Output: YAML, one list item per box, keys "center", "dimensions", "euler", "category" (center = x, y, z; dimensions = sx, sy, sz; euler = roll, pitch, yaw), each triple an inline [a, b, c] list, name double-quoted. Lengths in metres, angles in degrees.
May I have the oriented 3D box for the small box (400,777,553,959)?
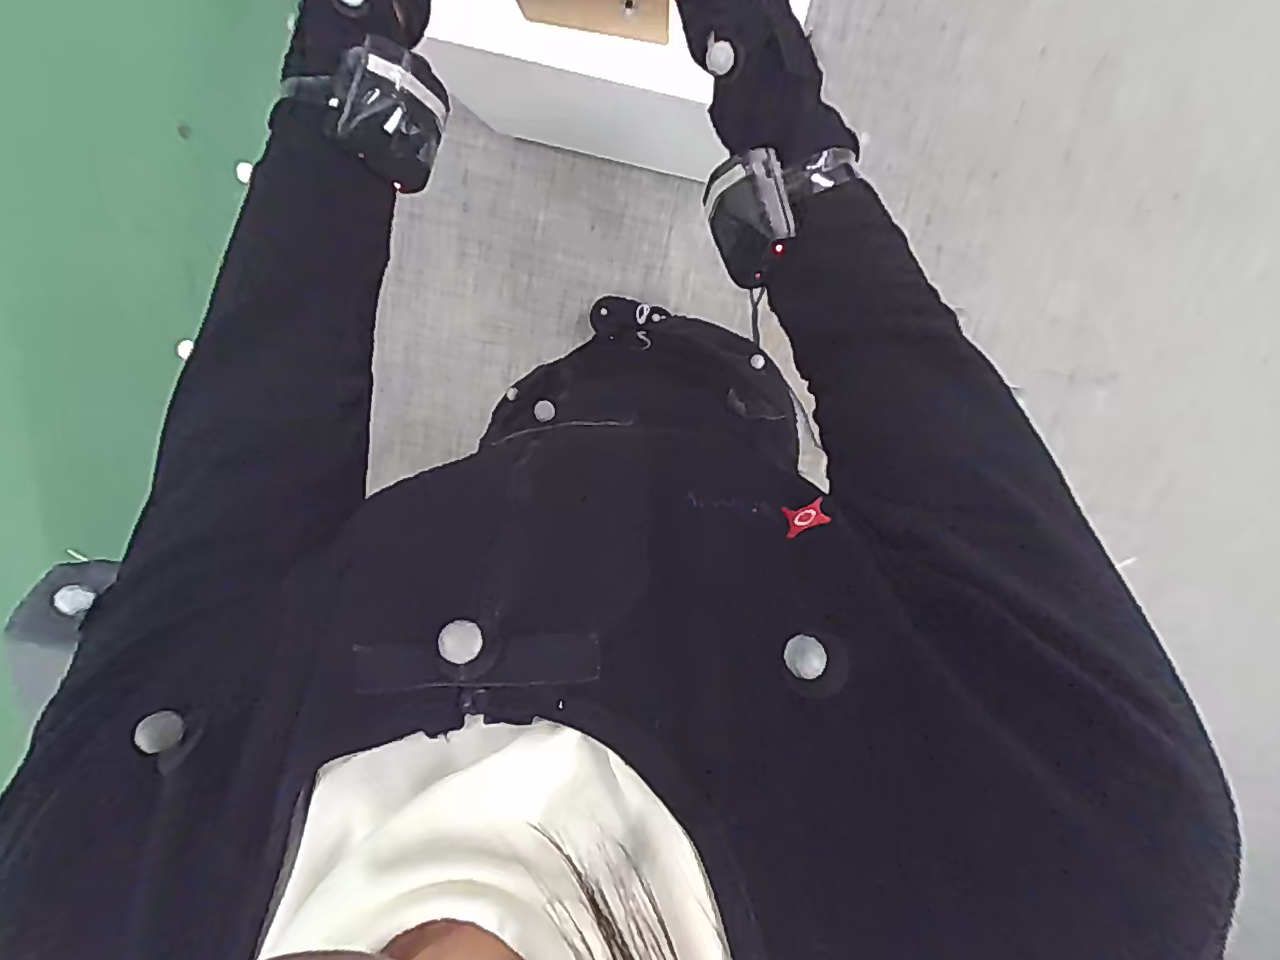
- center: [-0.244, 0.599, 0.841]
  dimensions: [0.179, 0.176, 0.168]
  euler: [15, 111, -3]
  category: "small box"

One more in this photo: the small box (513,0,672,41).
- center: [-0.045, -0.570, 0.532]
  dimensions: [0.179, 0.176, 0.168]
  euler: [9, 110, 1]
  category: "small box"
